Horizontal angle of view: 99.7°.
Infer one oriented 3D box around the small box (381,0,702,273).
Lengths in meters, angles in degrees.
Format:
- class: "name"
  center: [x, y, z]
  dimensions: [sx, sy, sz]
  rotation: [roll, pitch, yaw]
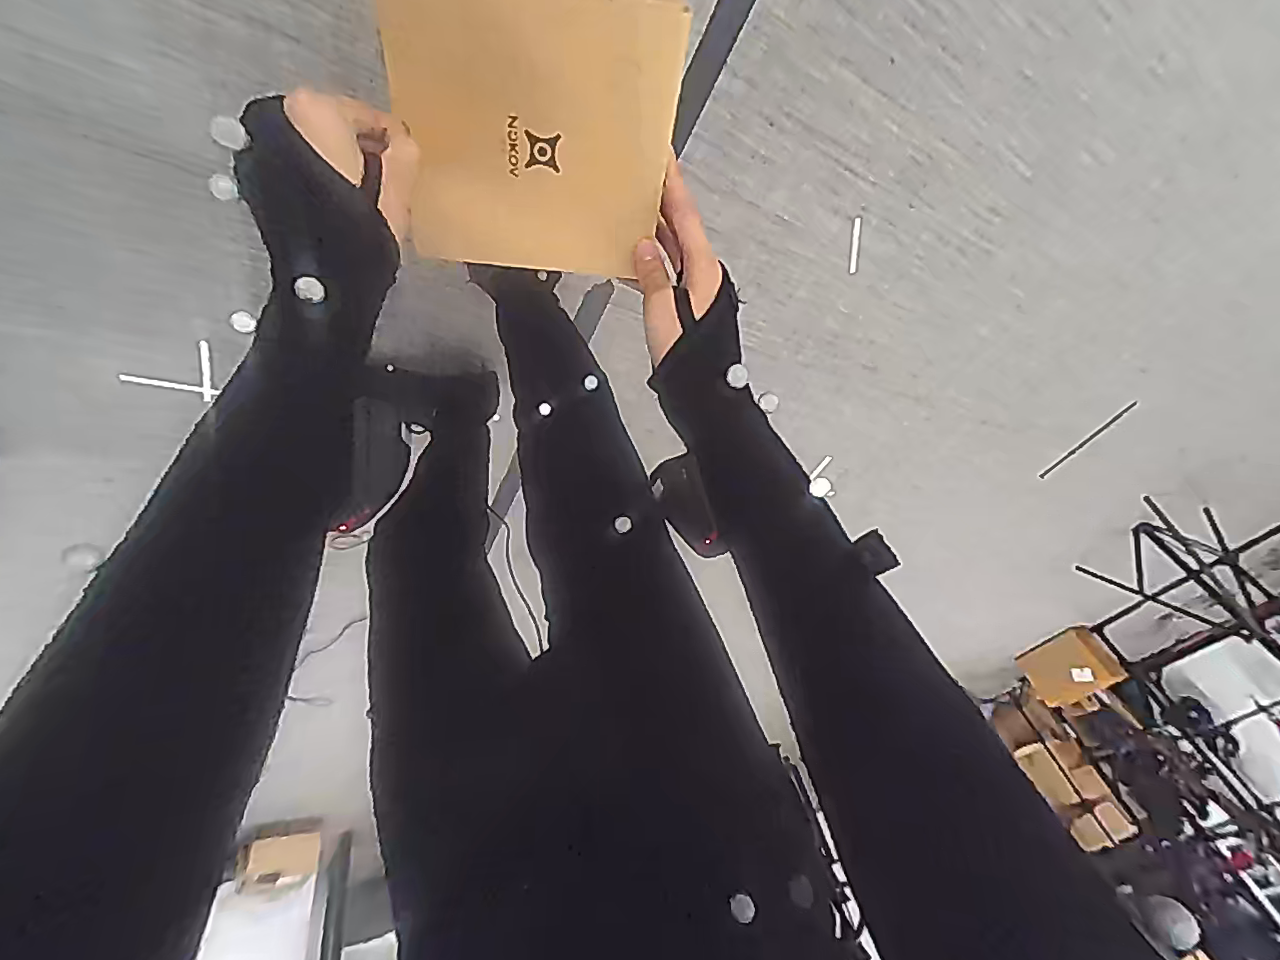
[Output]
- class: "small box"
  center: [-0.067, -0.278, 0.395]
  dimensions: [0.179, 0.176, 0.168]
  rotation: [3, 141, -9]
